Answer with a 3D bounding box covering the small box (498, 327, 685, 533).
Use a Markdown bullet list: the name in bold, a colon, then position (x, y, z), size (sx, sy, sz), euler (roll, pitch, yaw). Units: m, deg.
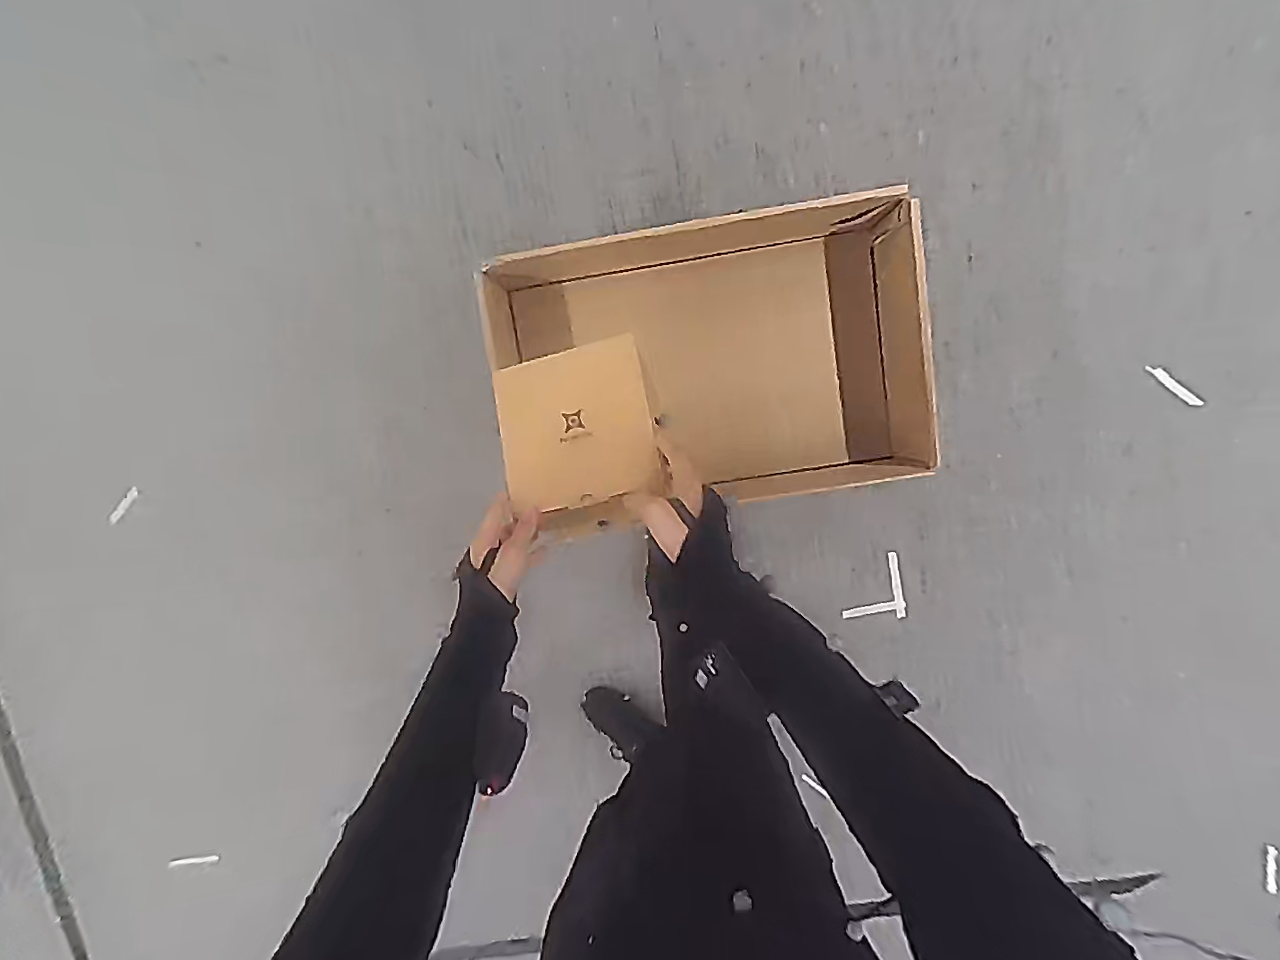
- **small box**: position (-0.049, -0.047, 0.647), size (0.168, 0.176, 0.179), euler (-15, 74, 8)
